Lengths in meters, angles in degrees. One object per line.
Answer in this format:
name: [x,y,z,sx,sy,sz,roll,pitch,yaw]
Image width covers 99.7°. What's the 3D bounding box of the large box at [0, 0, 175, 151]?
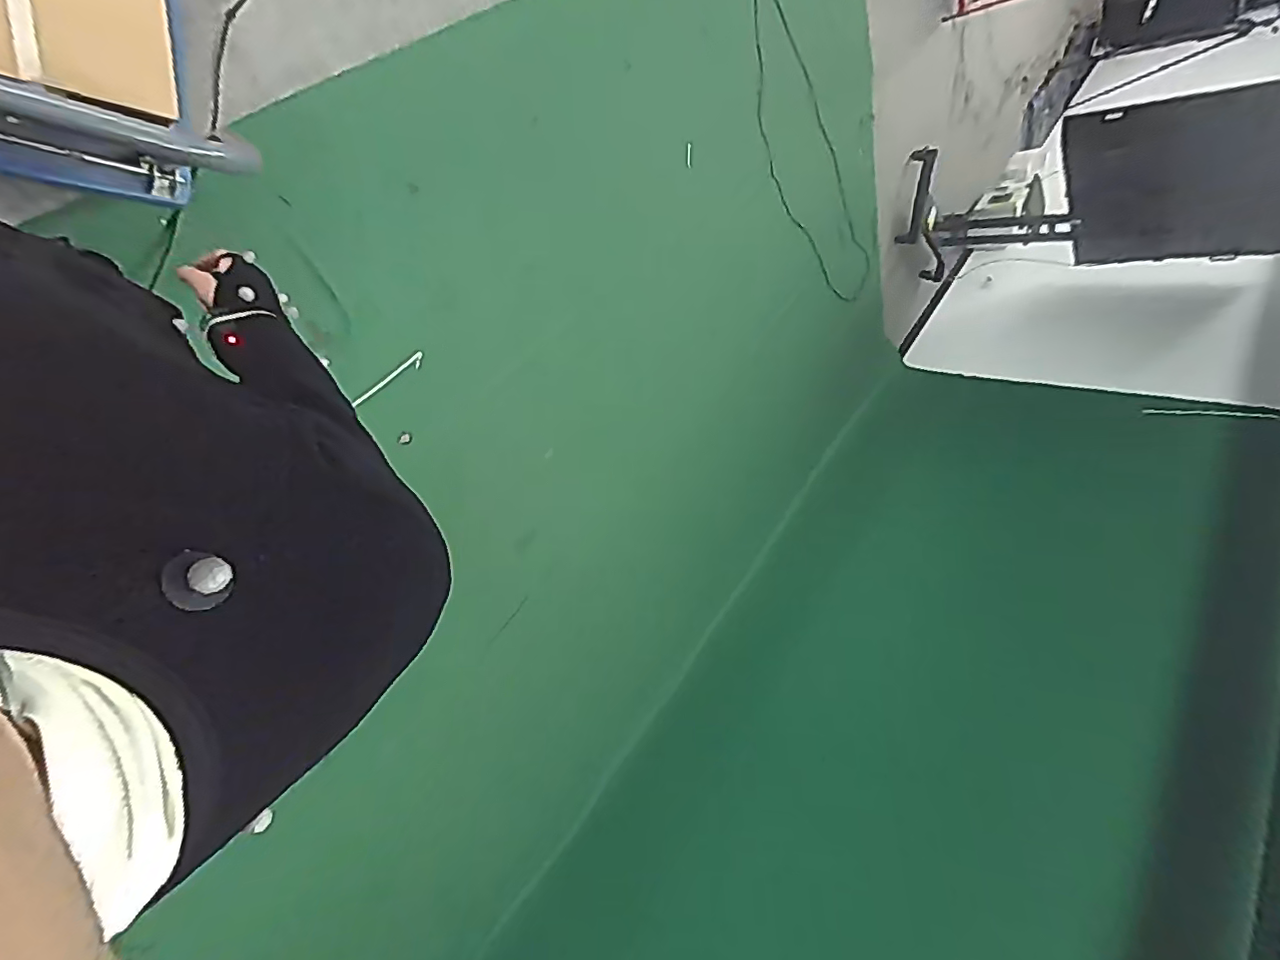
large box: [-0.928,-0.760,0.782,0.320,0.320,0.408,-12,112,-46]
